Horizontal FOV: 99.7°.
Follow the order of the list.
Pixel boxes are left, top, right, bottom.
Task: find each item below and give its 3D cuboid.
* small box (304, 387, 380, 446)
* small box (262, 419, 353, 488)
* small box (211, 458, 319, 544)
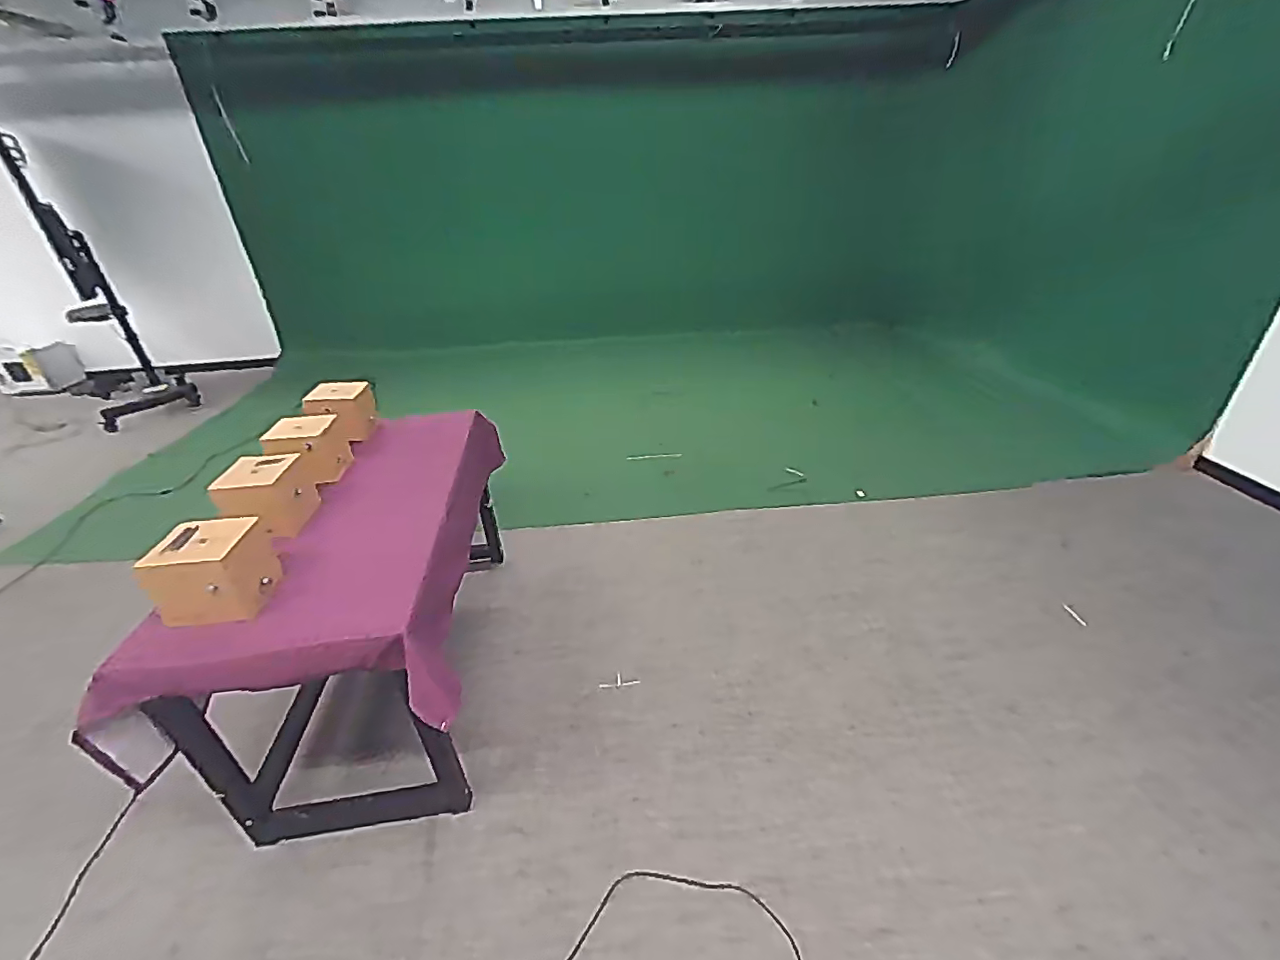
[{"bbox_3d":[-1.089,-0.232,1.987,0.179,0.176,0.168,-2,31,-4],"label":"small box"},{"bbox_3d":[-1.062,-0.082,1.741,0.179,0.176,0.168,-5,31,-6],"label":"small box"},{"bbox_3d":[-1.024,0.057,1.498,0.168,0.176,0.179,-5,31,-4],"label":"small box"}]
